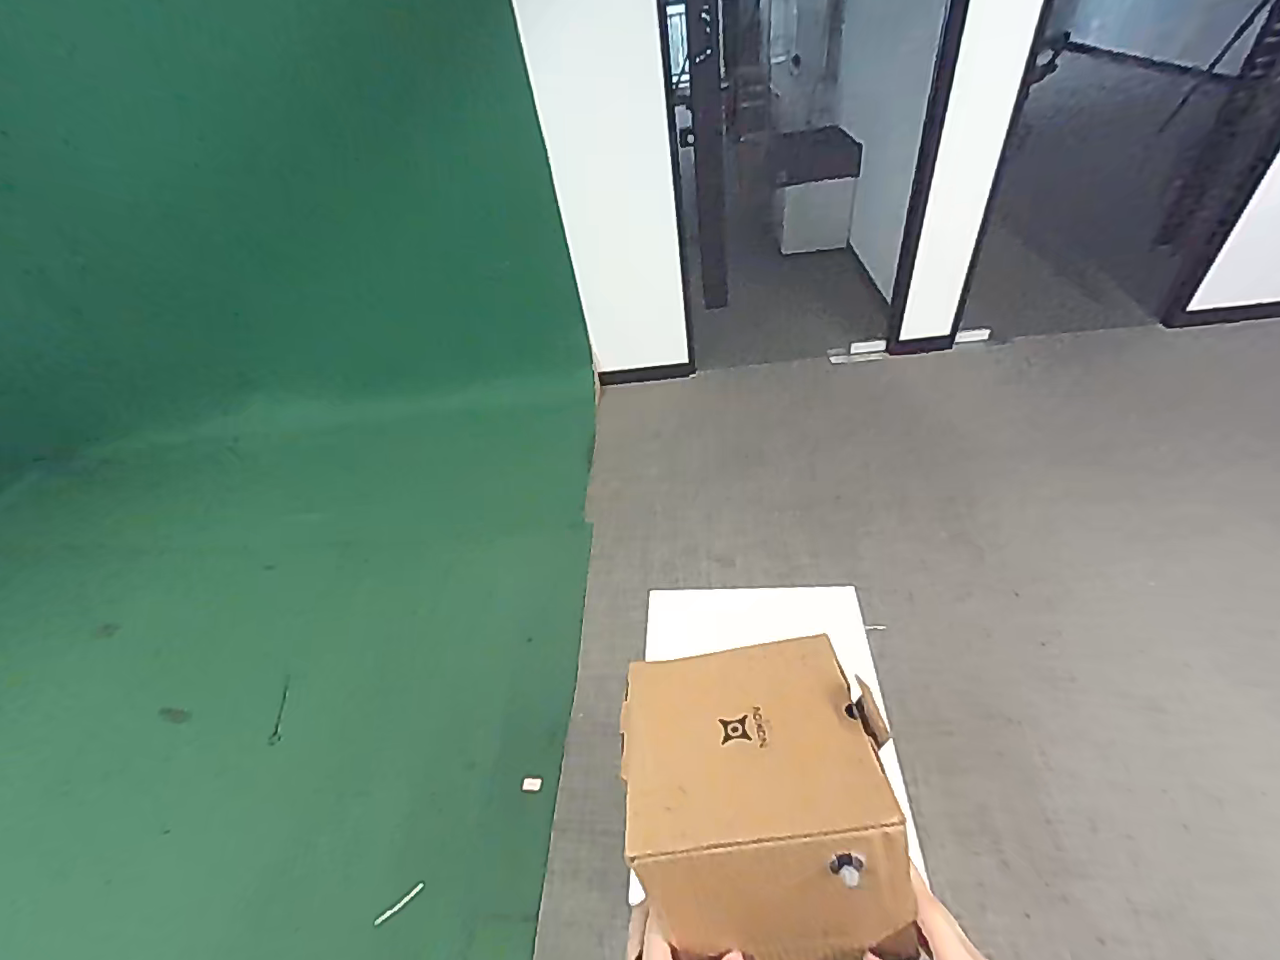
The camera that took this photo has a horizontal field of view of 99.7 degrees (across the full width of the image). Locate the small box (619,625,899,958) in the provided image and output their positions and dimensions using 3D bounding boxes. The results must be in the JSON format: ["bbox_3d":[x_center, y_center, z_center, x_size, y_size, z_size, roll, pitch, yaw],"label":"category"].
[{"bbox_3d":[0.092,0.250,0.444,0.179,0.176,0.168,-12,24,7],"label":"small box"}]
